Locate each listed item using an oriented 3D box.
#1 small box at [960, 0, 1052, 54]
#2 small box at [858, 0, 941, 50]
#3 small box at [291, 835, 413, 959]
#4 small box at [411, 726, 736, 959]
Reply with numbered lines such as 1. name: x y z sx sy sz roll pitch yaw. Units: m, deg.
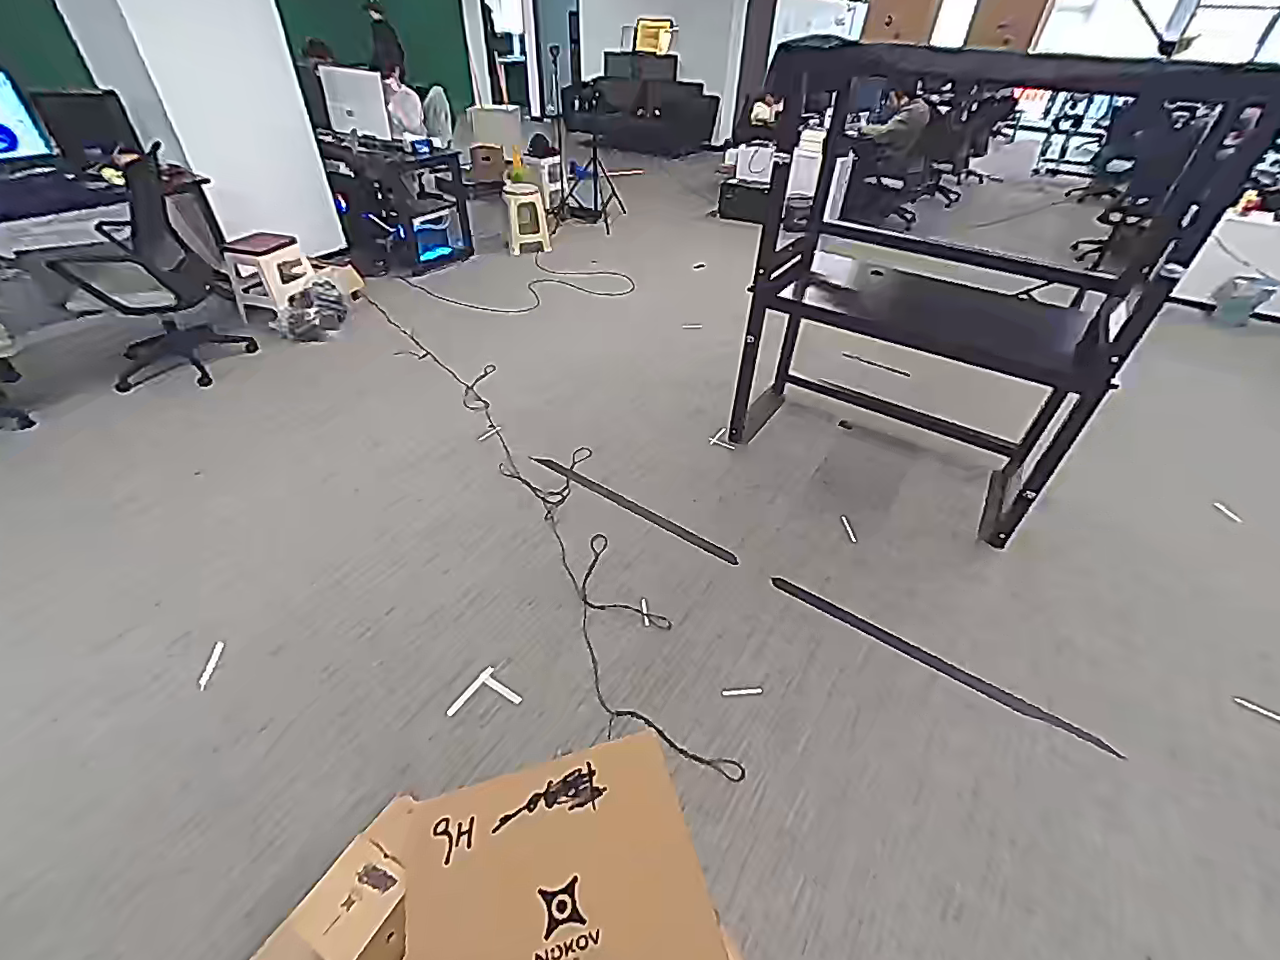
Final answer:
1. small box: 0.964 -1.226 1.411 0.168 0.176 0.179 25 43 25
2. small box: 0.738 -1.329 1.525 0.168 0.176 0.179 25 44 23
3. small box: -0.559 0.885 1.110 0.168 0.176 0.179 21 44 20
4. small box: -0.039 0.296 0.349 0.168 0.176 0.179 -11 46 -13
